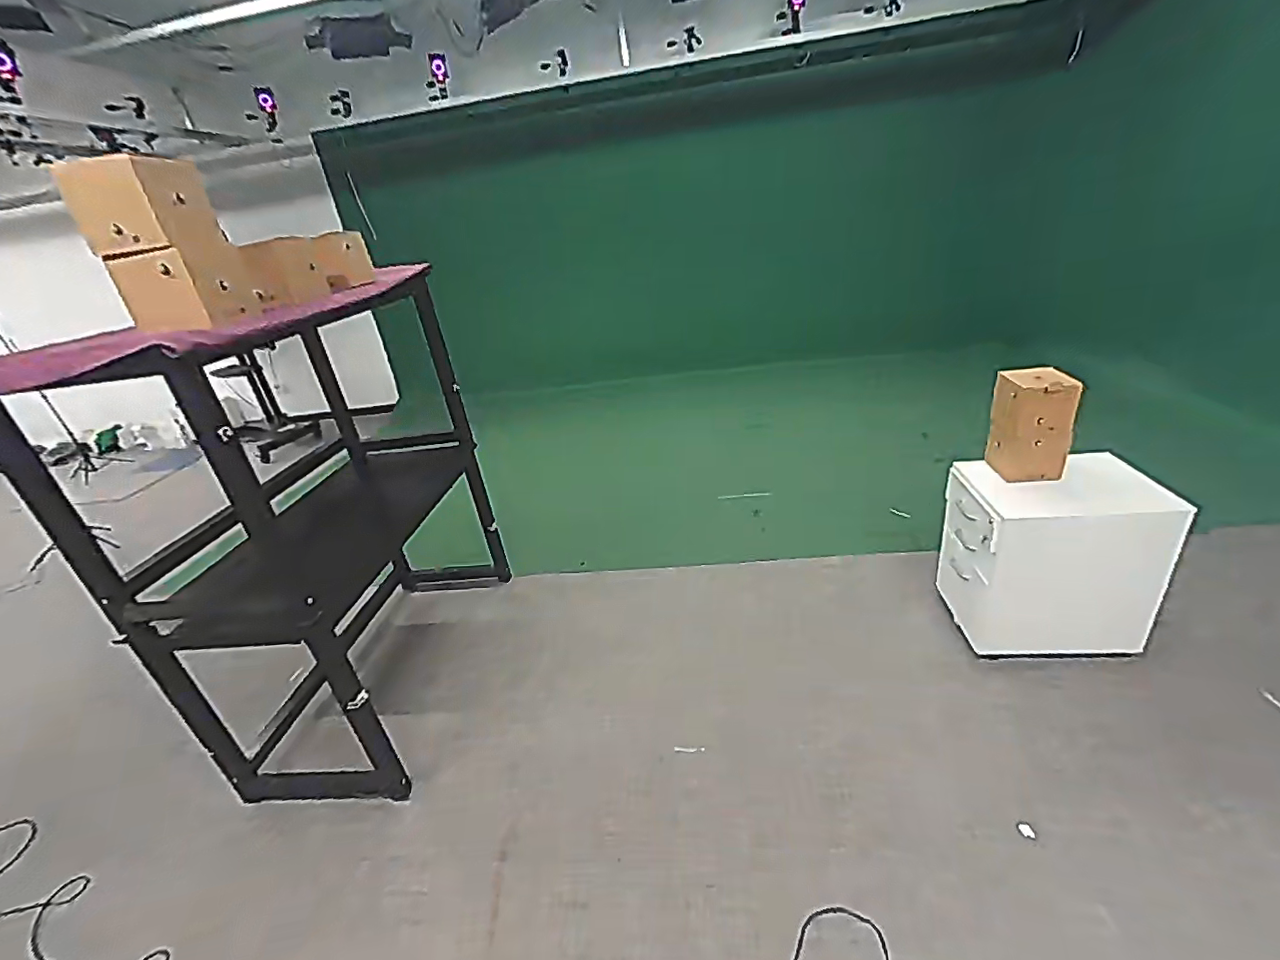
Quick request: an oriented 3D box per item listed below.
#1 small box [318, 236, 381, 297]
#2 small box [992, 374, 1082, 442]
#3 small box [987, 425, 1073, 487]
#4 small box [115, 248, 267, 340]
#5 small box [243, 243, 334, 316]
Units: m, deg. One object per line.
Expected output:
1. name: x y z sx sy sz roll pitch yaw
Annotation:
1. small box: -1.012 -0.715 1.828 0.168 0.176 0.179 -6 26 10
2. small box: 1.277 -0.234 1.755 0.168 0.176 0.179 -4 28 9
3. small box: 1.304 -0.088 1.823 0.168 0.176 0.179 -4 27 9
4. small box: -1.004 -0.424 1.229 0.179 0.176 0.168 -6 25 5
5. small box: -1.010 -0.570 1.539 0.168 0.176 0.179 -6 27 6
